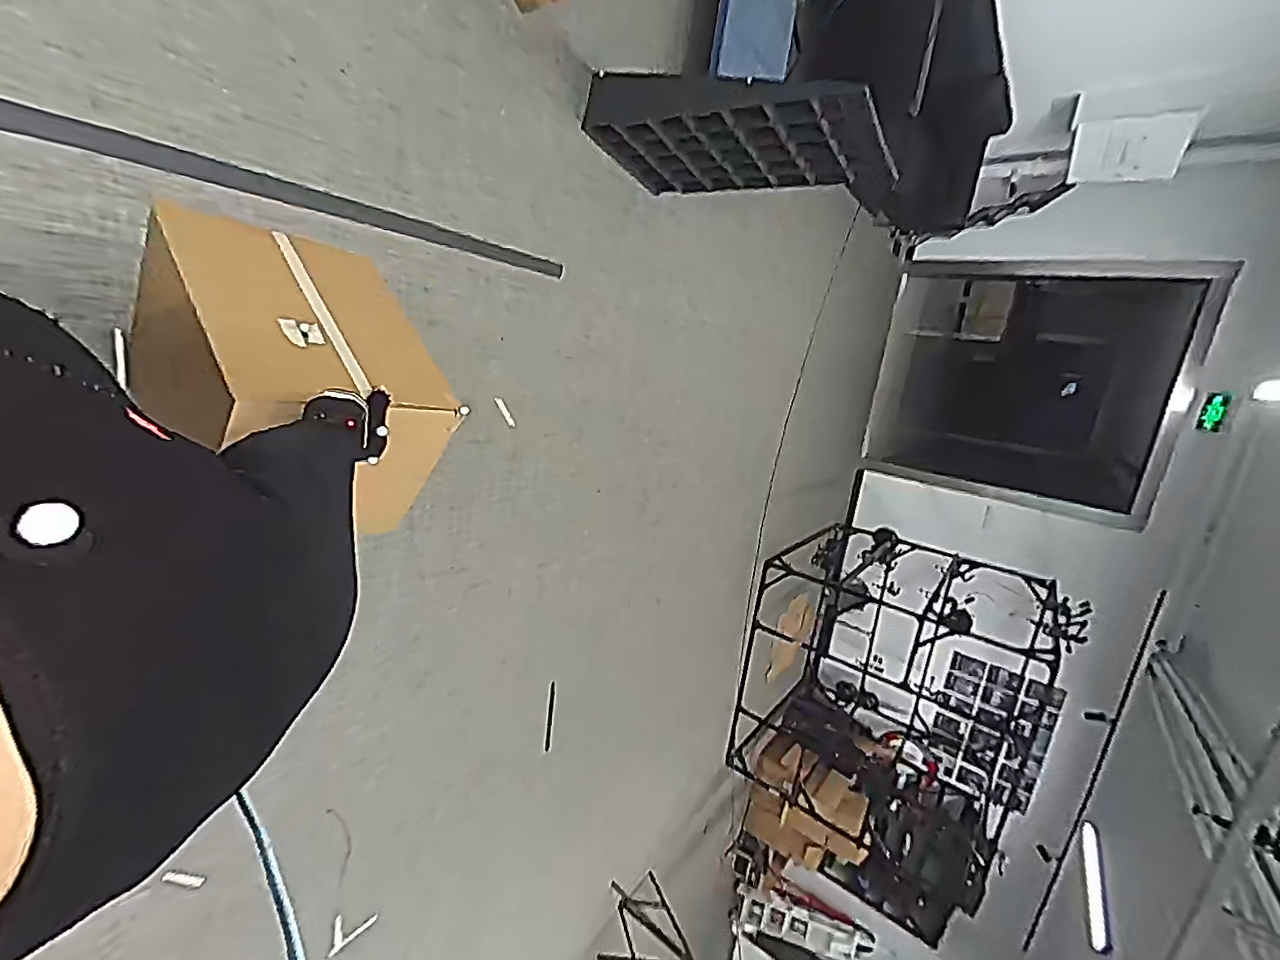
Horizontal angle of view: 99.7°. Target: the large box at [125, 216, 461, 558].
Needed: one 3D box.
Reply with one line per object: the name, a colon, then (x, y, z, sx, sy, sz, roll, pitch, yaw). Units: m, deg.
large box: (-0.579, -0.139, 0.893, 0.320, 0.408, 0.320, -47, 157, 29)
